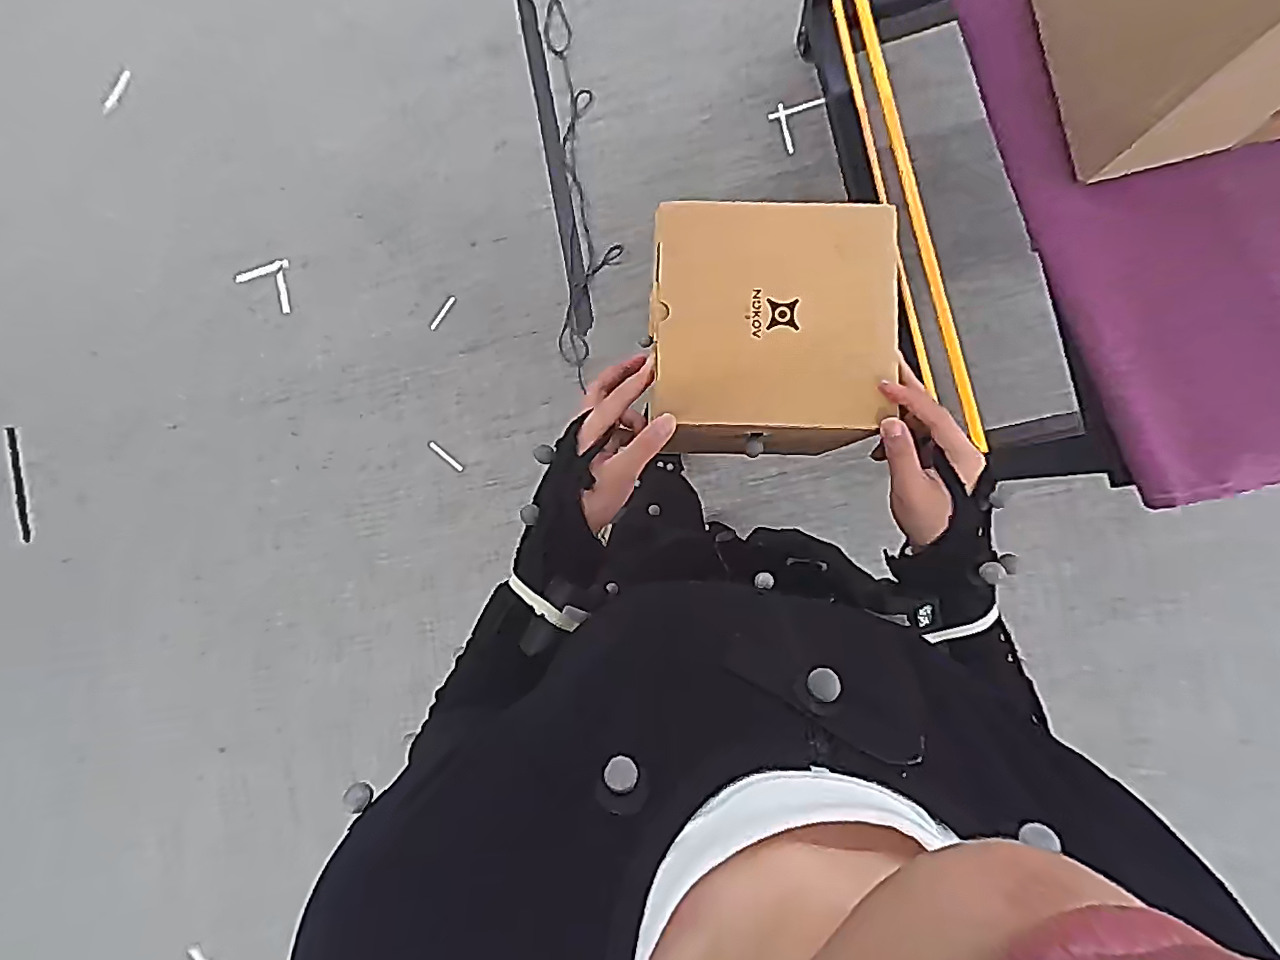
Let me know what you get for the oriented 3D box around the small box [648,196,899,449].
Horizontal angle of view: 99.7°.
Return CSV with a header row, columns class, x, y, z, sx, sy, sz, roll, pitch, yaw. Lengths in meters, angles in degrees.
class,x,y,z,sx,sy,sz,roll,pitch,yaw
small box,0.098,-0.119,0.469,0.179,0.176,0.168,2,87,1
